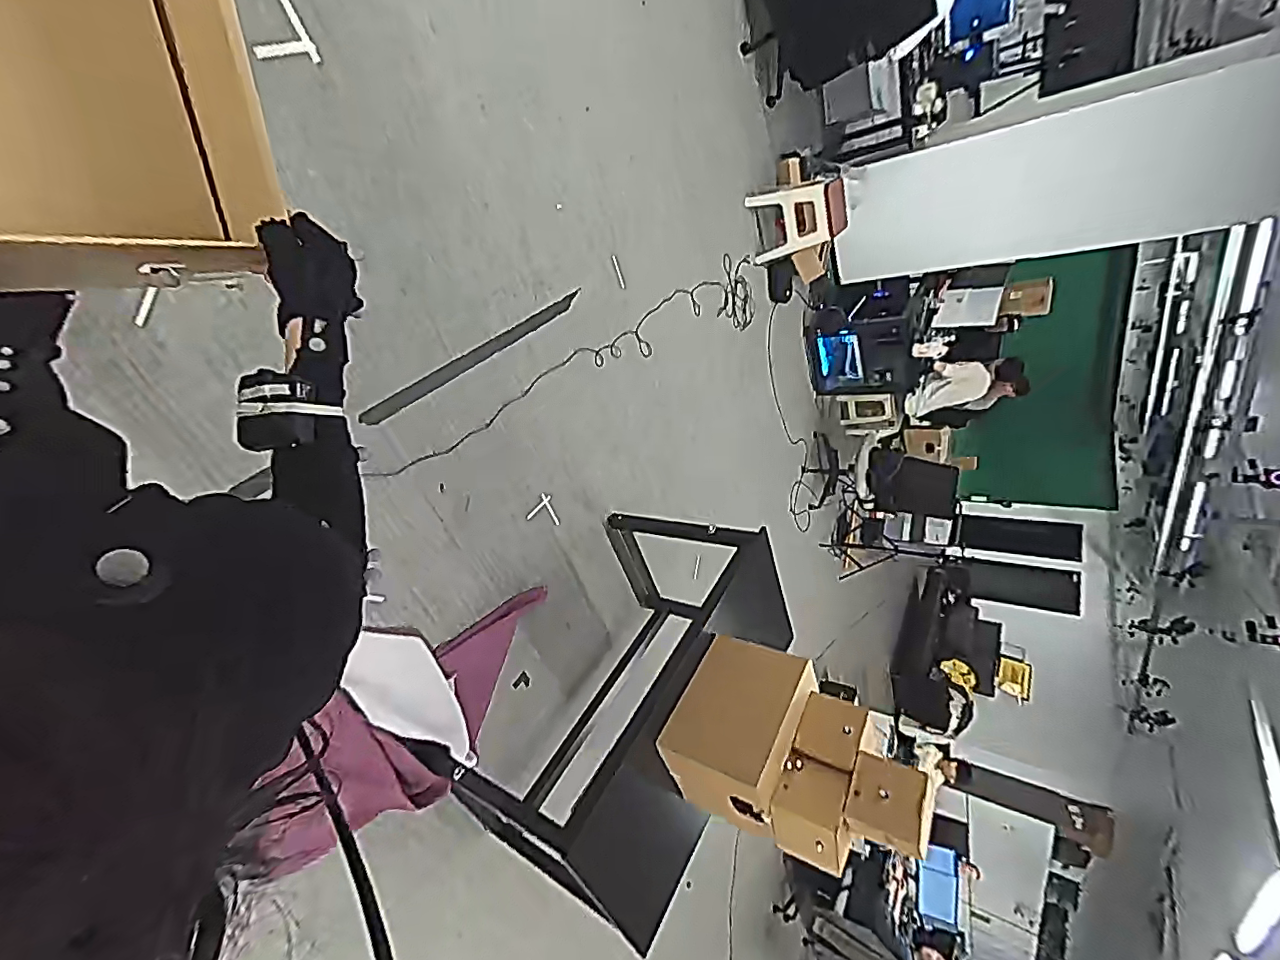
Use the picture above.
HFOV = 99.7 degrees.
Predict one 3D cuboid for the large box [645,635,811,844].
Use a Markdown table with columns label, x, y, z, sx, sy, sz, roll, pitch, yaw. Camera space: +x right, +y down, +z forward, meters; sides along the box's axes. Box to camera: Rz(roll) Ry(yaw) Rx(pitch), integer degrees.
| label | x | y | z | sx | sy | sz | roll | pitch | yaw |
| --- | --- | --- | --- | --- | --- | --- | --- | --- | --- |
| large box | 0.274 | 0.740 | 1.599 | 0.408 | 0.320 | 0.320 | -49 | 130 | -38 |

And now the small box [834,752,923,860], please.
| label | x | y | z | sx | sy | sz | roll | pitch | yaw |
| --- | --- | --- | --- | --- | --- | --- | --- | --- | --- |
| small box | 0.603 | 0.817 | 1.367 | 0.168 | 0.176 | 0.179 | -60 | 136 | -30 |

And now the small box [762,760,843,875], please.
| label | x | y | z | sx | sy | sz | roll | pitch | yaw |
| --- | --- | --- | --- | --- | --- | --- | --- | --- | --- |
| small box | 0.428 | 0.865 | 1.410 | 0.168 | 0.176 | 0.179 | -37 | 124 | -46 |
